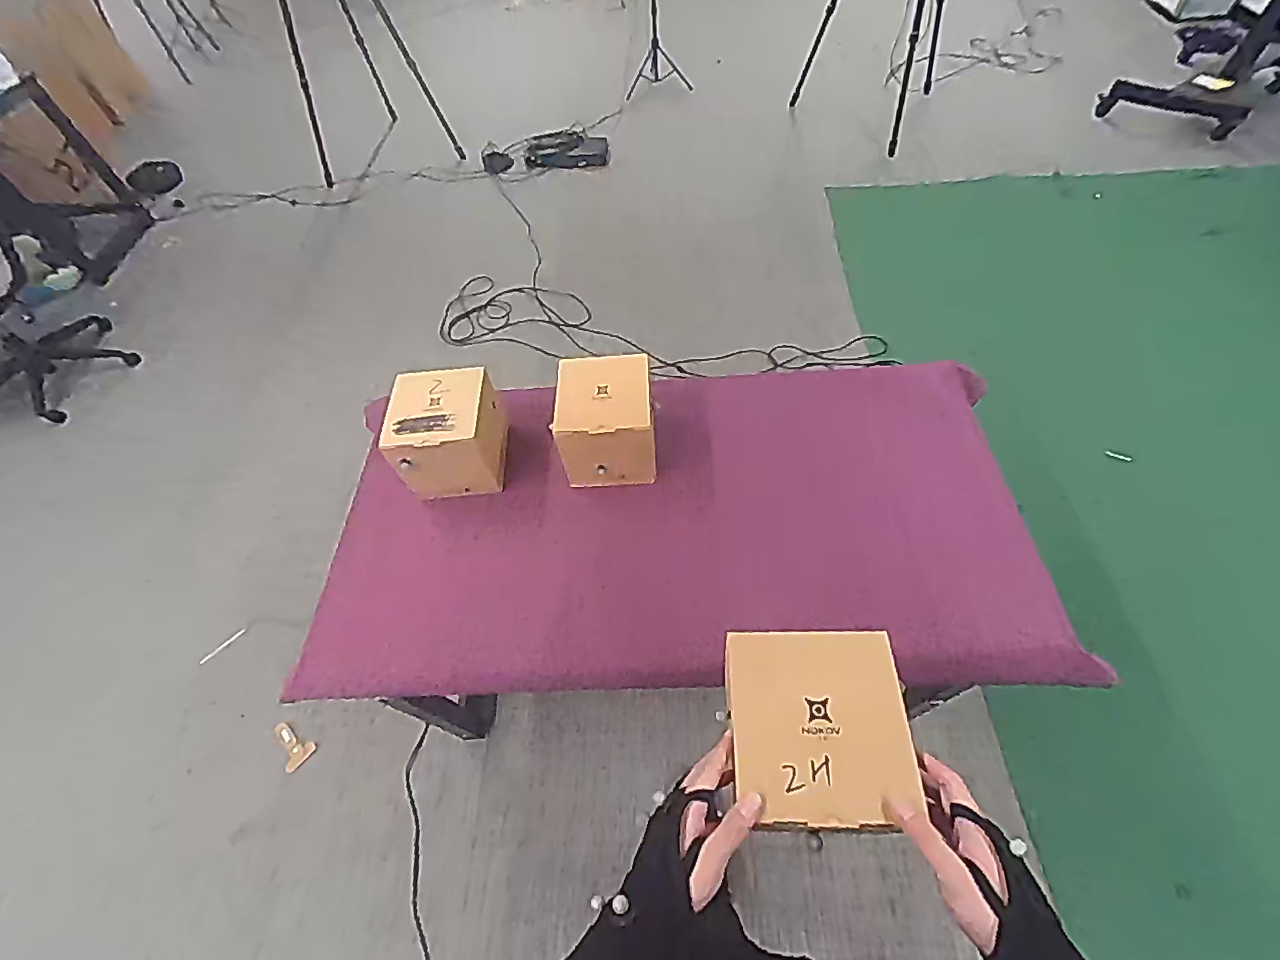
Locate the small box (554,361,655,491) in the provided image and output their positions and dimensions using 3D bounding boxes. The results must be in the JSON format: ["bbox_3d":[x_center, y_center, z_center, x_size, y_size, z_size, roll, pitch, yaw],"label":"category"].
[{"bbox_3d":[-0.060,-0.098,1.016,0.168,0.176,0.179,-4,57,3],"label":"small box"}]

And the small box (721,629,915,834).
[{"bbox_3d":[0.173,0.276,0.591,0.168,0.176,0.179,-2,56,8],"label":"small box"}]
